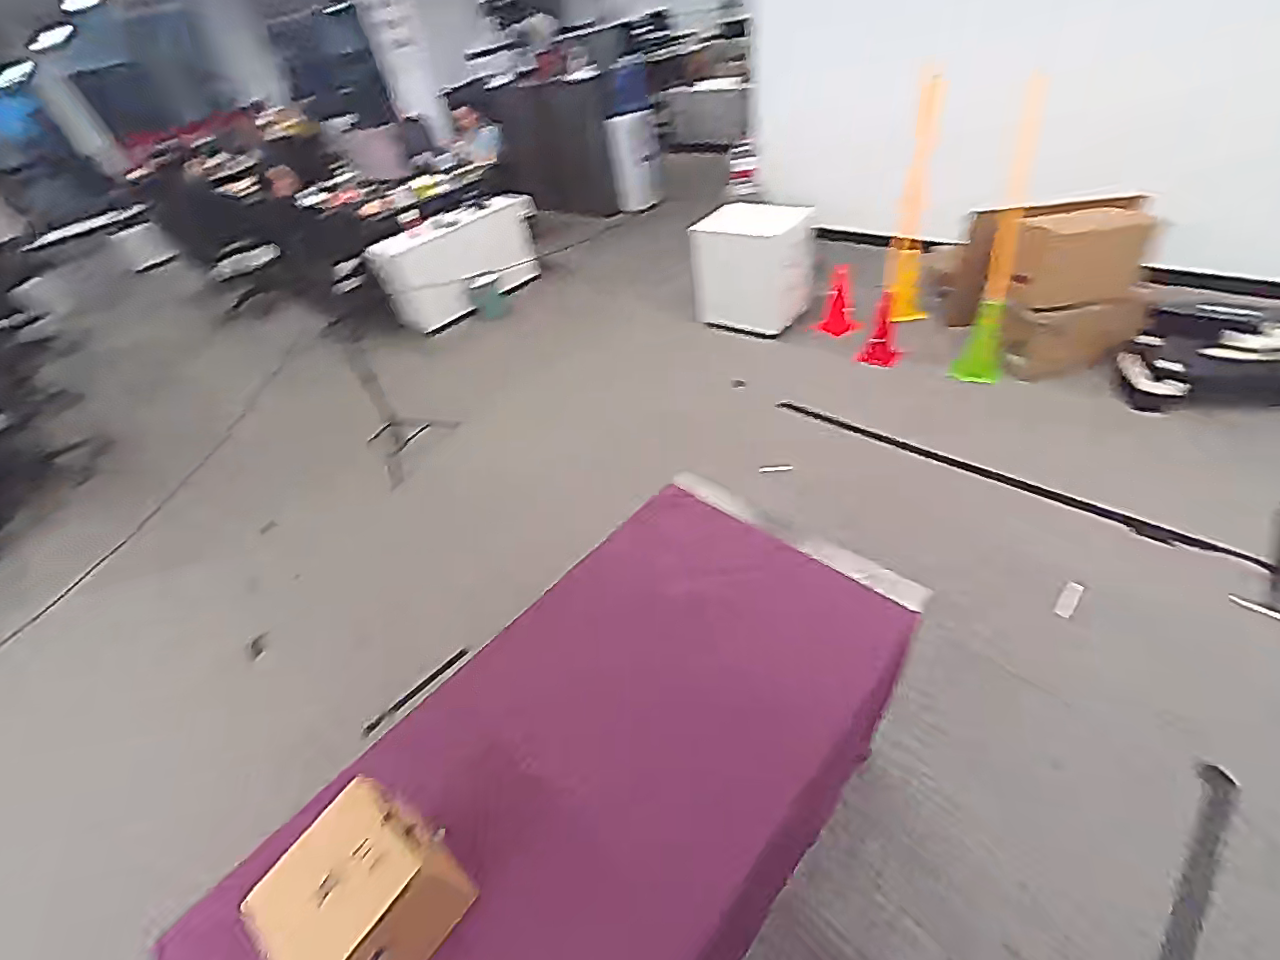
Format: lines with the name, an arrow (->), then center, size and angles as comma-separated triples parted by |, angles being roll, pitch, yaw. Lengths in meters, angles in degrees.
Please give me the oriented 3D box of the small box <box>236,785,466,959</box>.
small box -> -0.363, 0.553, 0.705 | 0.168, 0.176, 0.179 | 25, 53, 33
